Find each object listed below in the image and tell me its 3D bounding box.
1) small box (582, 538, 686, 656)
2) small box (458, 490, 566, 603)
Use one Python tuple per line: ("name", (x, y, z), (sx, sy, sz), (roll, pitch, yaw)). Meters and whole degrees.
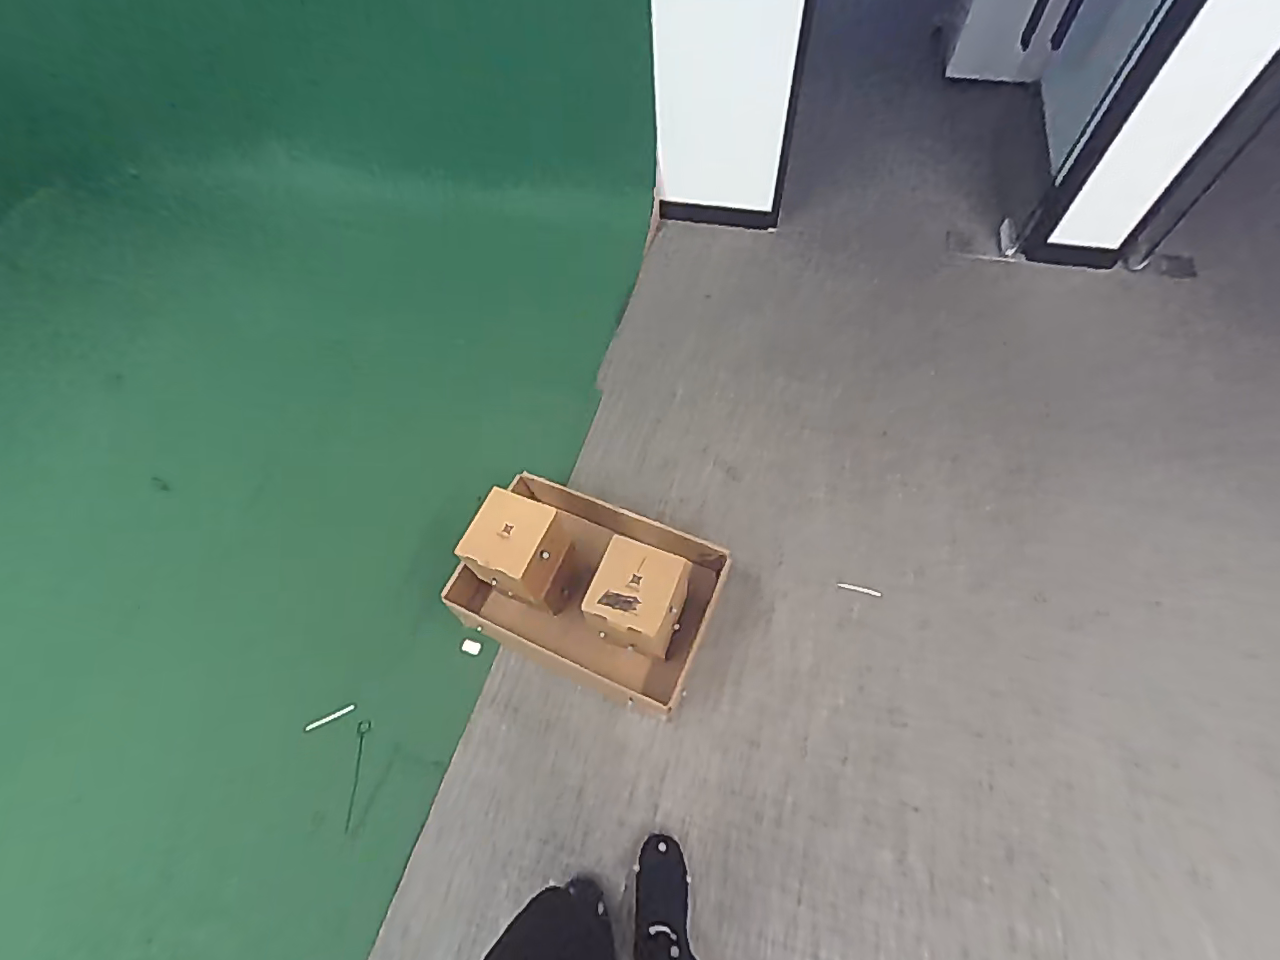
("small box", (-0.004, 0.258, 1.163), (0.168, 0.176, 0.179), (18, 63, 15))
("small box", (-0.282, 0.157, 1.245), (0.168, 0.176, 0.179), (20, 65, 14))
